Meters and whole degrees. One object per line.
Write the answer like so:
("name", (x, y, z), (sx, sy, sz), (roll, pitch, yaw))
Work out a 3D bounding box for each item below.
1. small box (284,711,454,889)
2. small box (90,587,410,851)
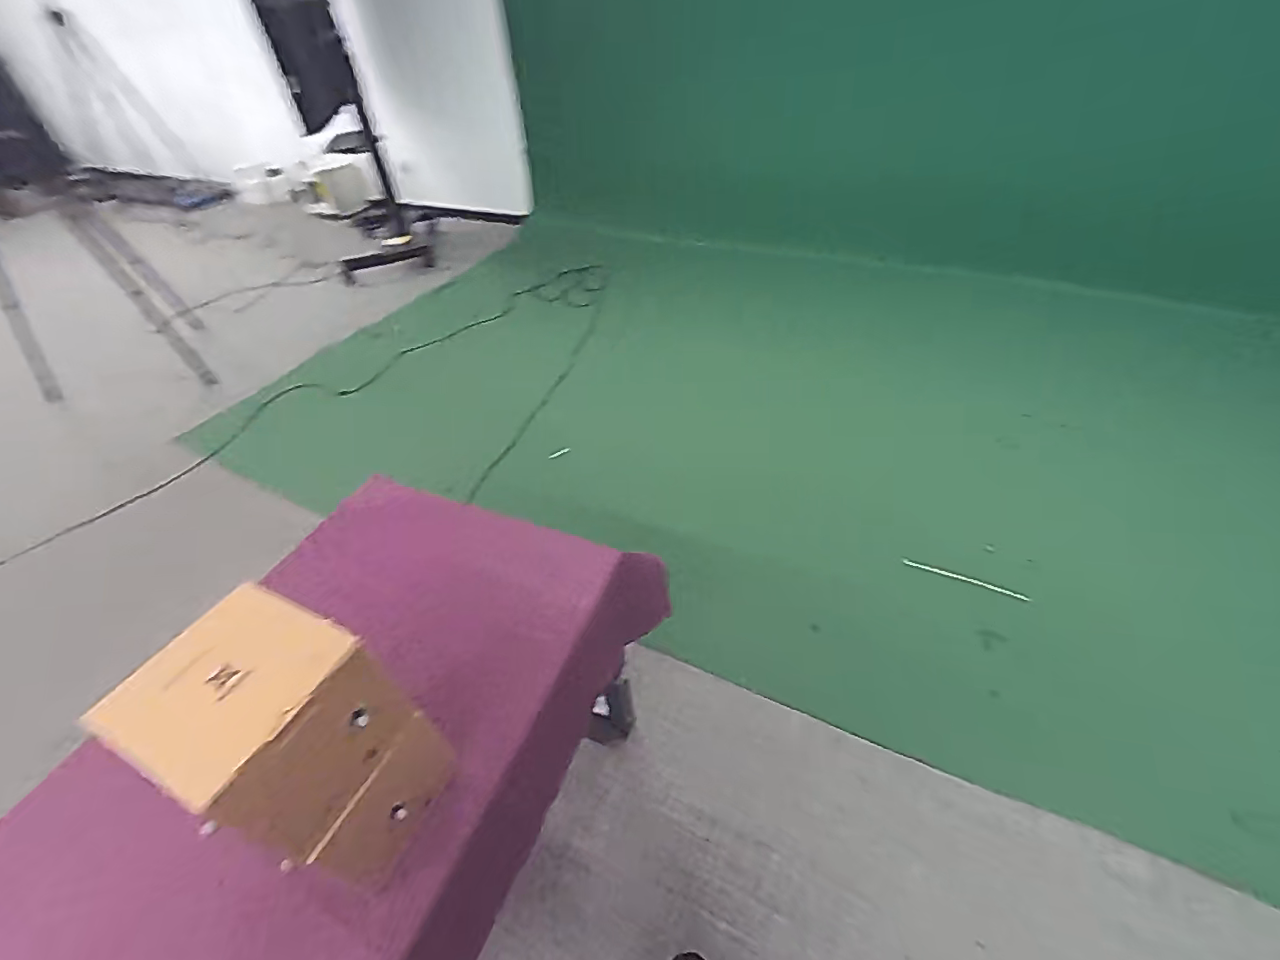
("small box", (-0.362, 0.368, 0.667), (0.179, 0.176, 0.168), (14, 46, 20))
("small box", (-0.376, 0.247, 0.558), (0.179, 0.176, 0.168), (16, 46, 22))
